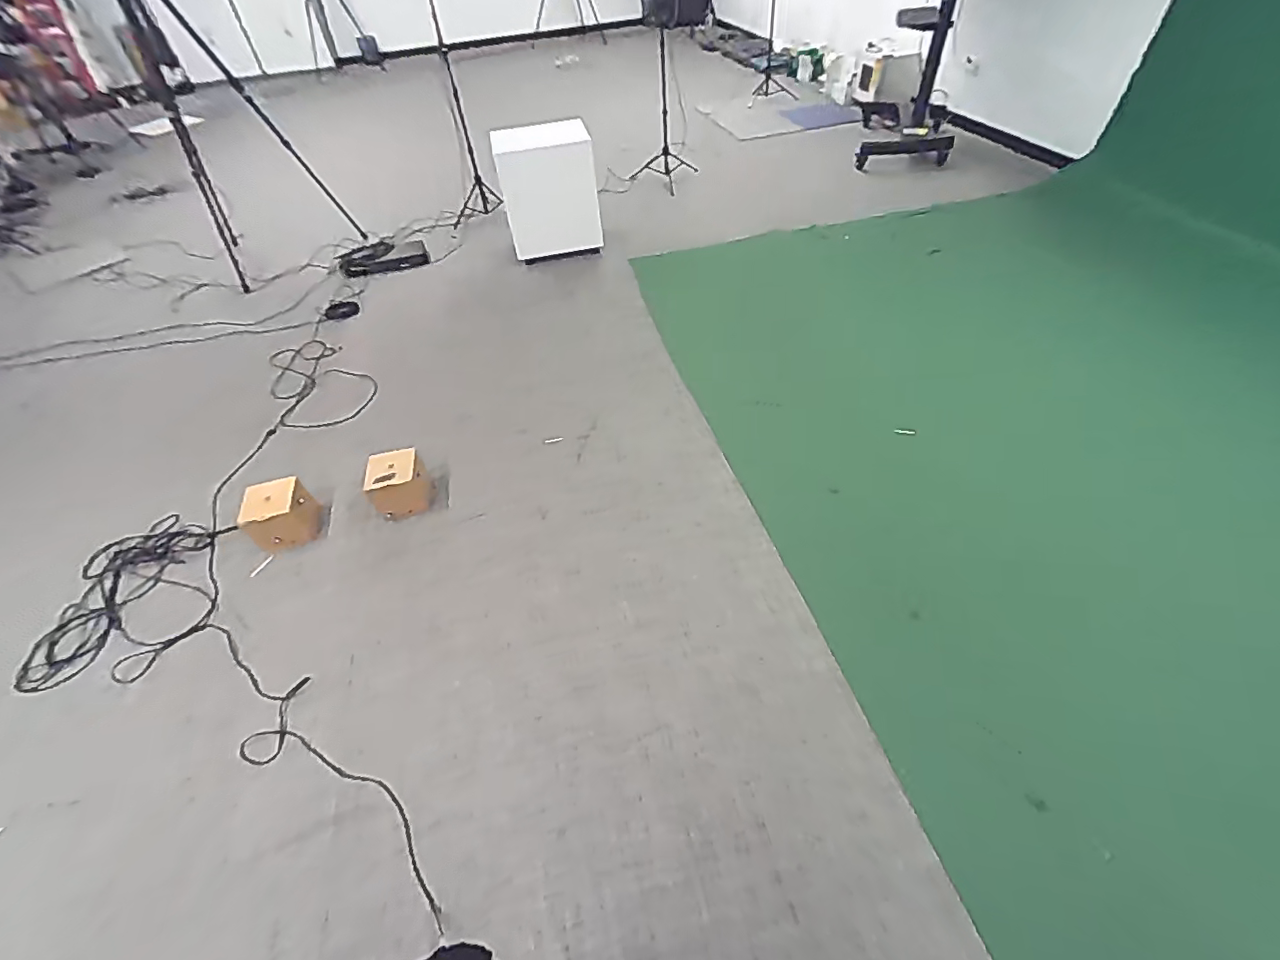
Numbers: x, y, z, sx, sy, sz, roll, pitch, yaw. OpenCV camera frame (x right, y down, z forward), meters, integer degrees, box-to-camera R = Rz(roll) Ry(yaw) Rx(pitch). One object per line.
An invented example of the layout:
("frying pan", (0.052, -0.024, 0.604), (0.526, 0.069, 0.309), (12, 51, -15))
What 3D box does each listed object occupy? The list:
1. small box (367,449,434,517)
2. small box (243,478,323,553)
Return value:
("small box", (-0.855, 0.019, 1.950), (0.168, 0.176, 0.179), (-11, 48, -4))
("small box", (-1.240, 0.124, 1.893), (0.168, 0.176, 0.179), (-15, 49, -8))
